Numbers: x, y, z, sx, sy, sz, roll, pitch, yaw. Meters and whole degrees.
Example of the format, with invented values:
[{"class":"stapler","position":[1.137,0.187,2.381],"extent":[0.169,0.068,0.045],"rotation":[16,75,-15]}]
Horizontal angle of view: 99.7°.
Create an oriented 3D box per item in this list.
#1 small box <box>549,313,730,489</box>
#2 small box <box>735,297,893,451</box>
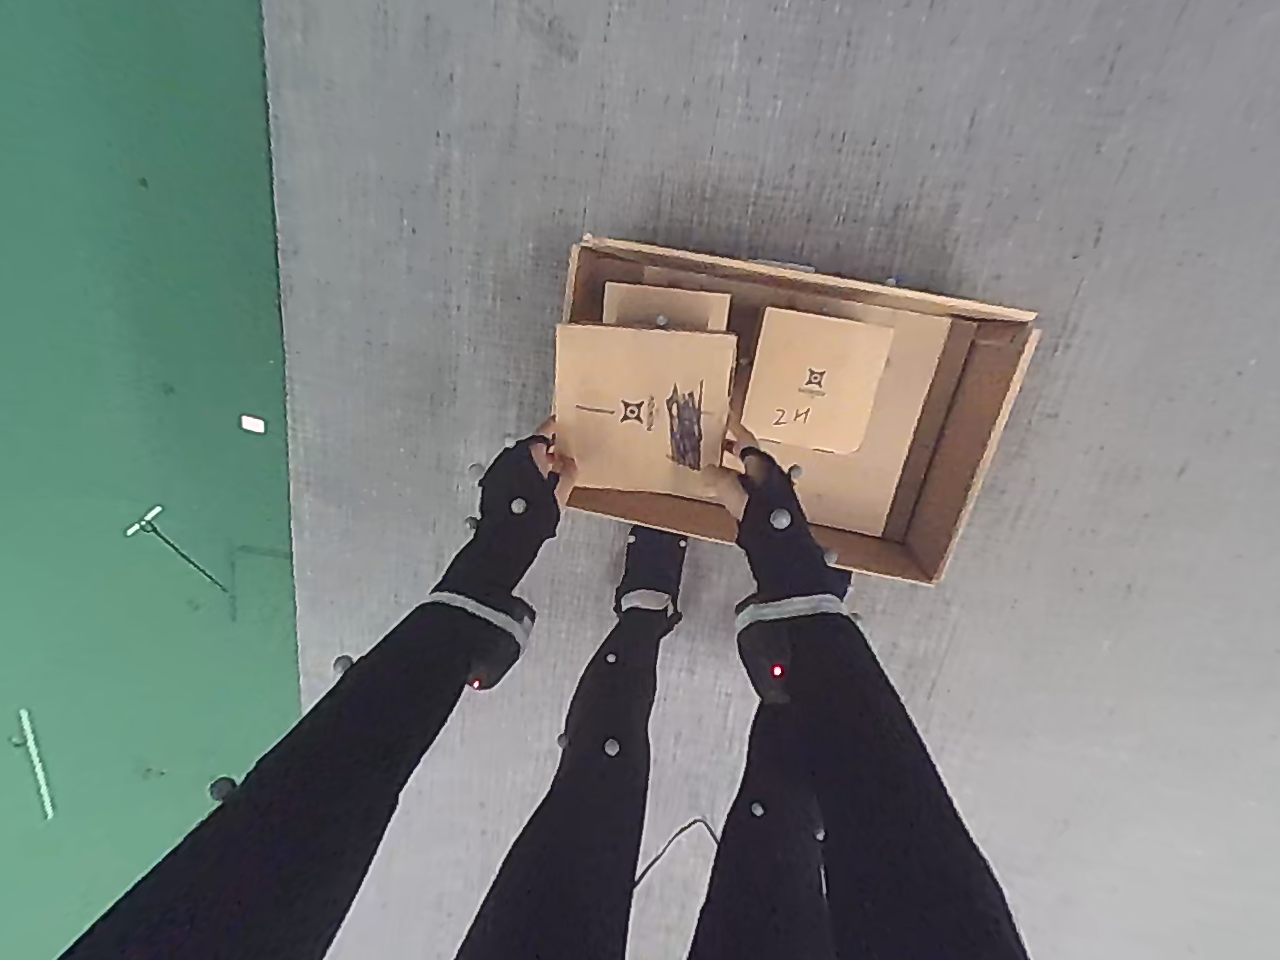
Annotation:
[{"class":"small box","position":[0.002,-0.099,0.616],"extent":[0.179,0.176,0.168],"rotation":[5,108,5]},{"class":"small box","position":[0.234,-0.159,0.780],"extent":[0.168,0.176,0.179],"rotation":[12,110,6]}]
